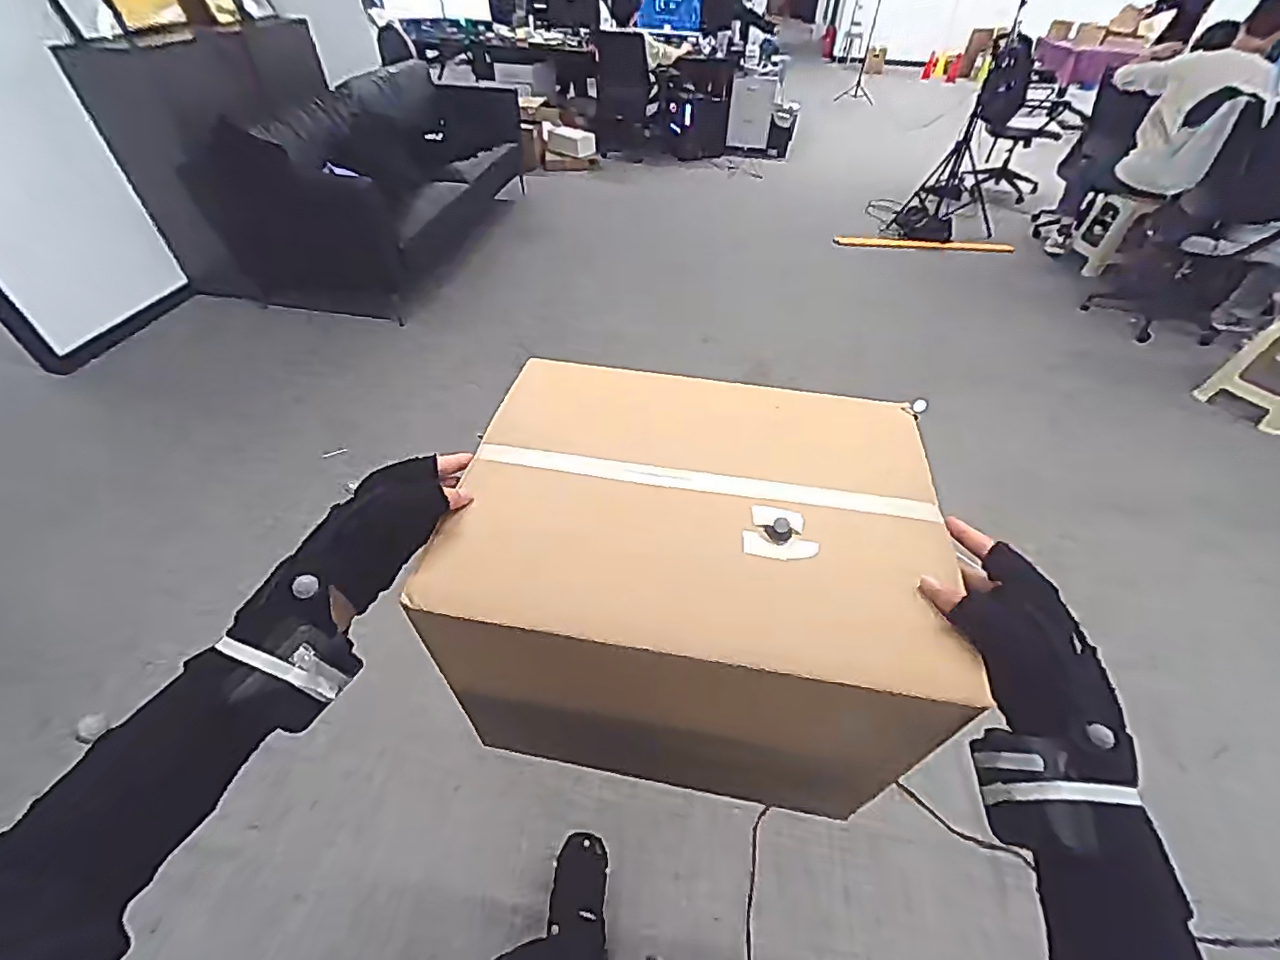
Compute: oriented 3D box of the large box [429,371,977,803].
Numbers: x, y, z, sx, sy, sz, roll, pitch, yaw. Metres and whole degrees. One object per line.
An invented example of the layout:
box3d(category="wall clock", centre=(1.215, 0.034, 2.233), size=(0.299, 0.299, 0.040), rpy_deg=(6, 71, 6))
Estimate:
box3d(category="large box", centre=(0.052, 0.114, 0.593), size=(0.408, 0.320, 0.320), rpy_deg=(8, 47, 5))
